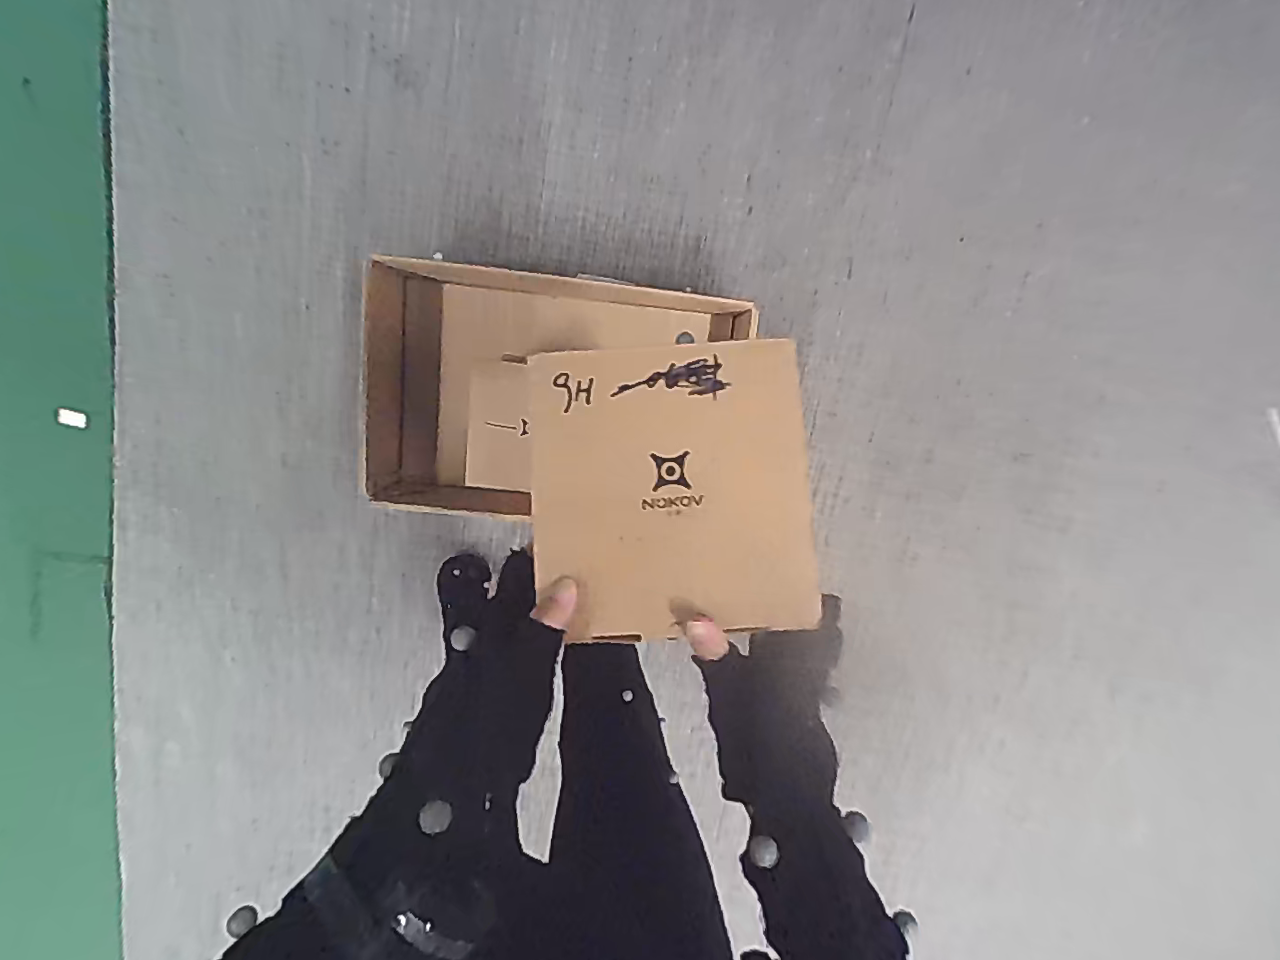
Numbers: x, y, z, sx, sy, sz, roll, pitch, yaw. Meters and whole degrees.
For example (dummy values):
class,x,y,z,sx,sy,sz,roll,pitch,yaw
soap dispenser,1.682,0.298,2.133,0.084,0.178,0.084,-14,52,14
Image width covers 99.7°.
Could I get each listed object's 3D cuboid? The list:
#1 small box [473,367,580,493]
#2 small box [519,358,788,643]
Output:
class,x,y,z,sx,sy,sz,roll,pitch,yaw
small box,-0.134,-0.075,0.798,0.179,0.176,0.168,6,100,-3
small box,0.010,0.020,0.432,0.168,0.176,0.179,-6,83,1
